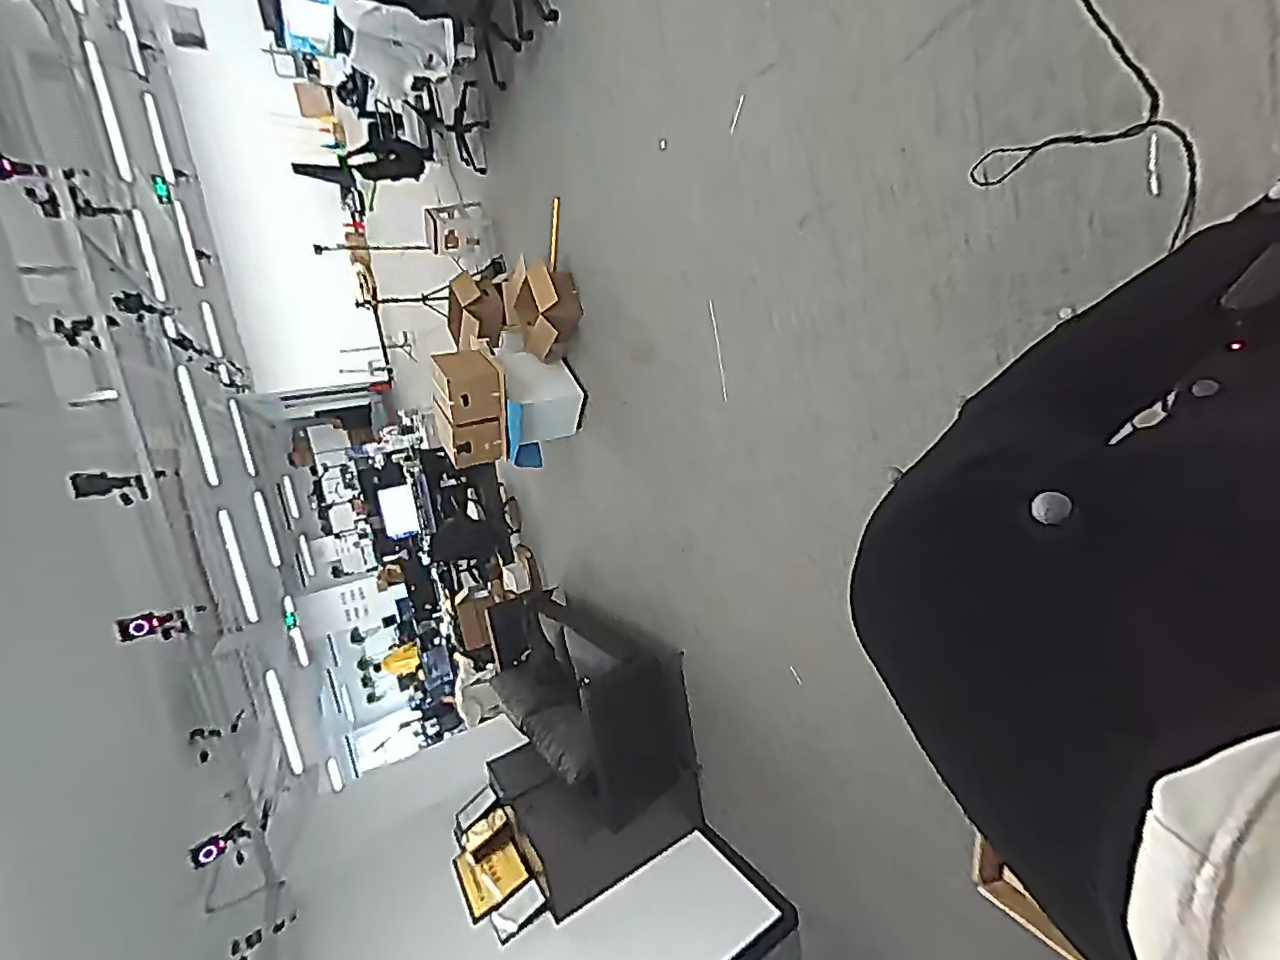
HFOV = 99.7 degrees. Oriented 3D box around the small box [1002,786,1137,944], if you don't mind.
[{"bbox_3d":[0.907,0.801,1.144,0.168,0.176,0.179,22,121,54],"label":"small box"}]
